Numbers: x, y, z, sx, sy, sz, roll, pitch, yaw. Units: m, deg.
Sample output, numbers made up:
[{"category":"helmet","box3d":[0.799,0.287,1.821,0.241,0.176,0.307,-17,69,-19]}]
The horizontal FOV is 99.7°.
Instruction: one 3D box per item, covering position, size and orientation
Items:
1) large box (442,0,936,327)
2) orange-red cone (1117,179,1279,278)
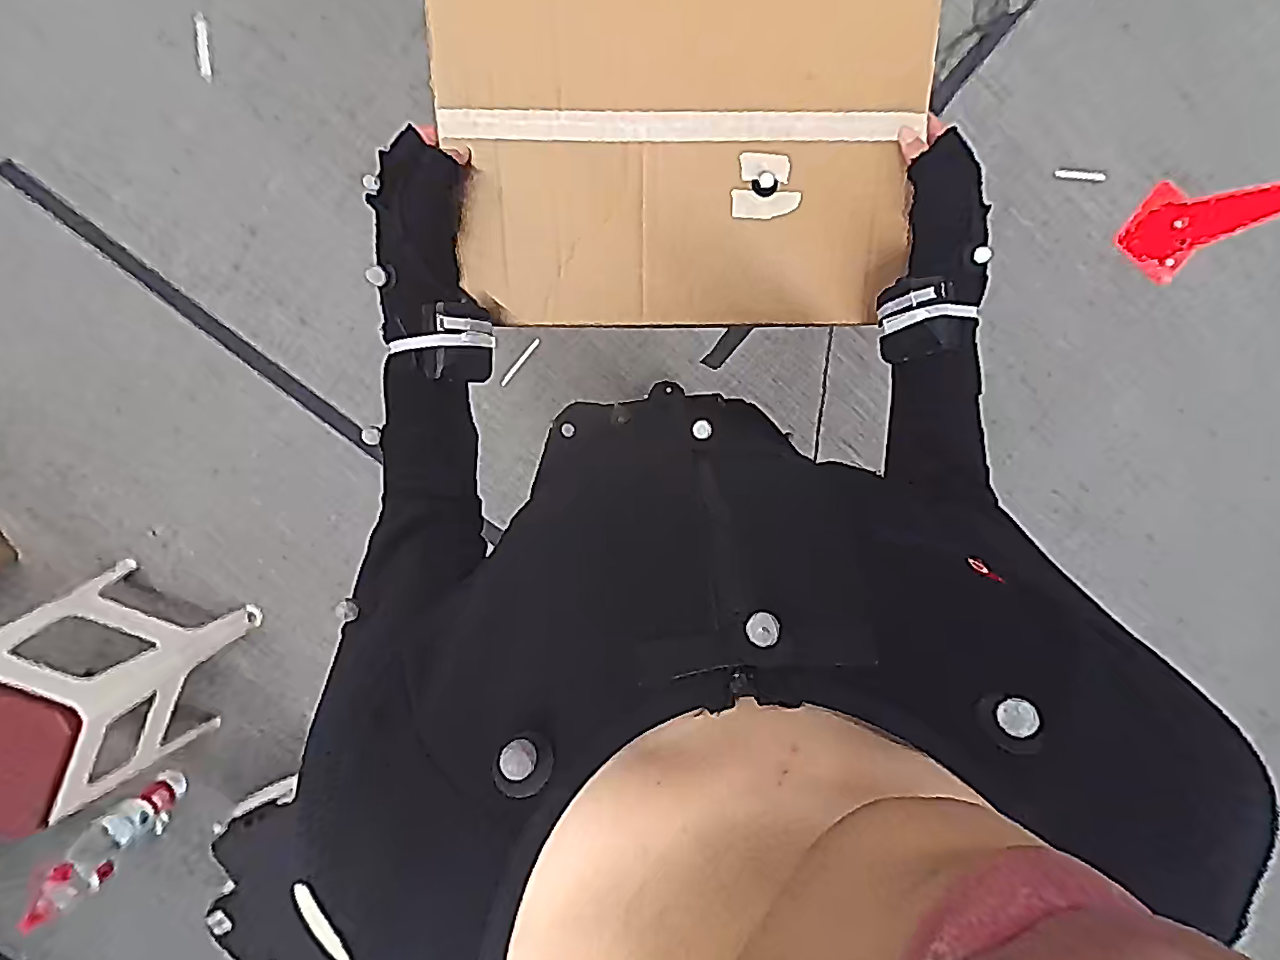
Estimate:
[{"category":"large box","box3d":[0.034,-0.334,0.598,0.408,0.320,0.320,0,106,-3]},{"category":"orange-red cone","box3d":[1.405,-0.644,1.273,0.198,0.360,0.199,37,94,-9]}]
